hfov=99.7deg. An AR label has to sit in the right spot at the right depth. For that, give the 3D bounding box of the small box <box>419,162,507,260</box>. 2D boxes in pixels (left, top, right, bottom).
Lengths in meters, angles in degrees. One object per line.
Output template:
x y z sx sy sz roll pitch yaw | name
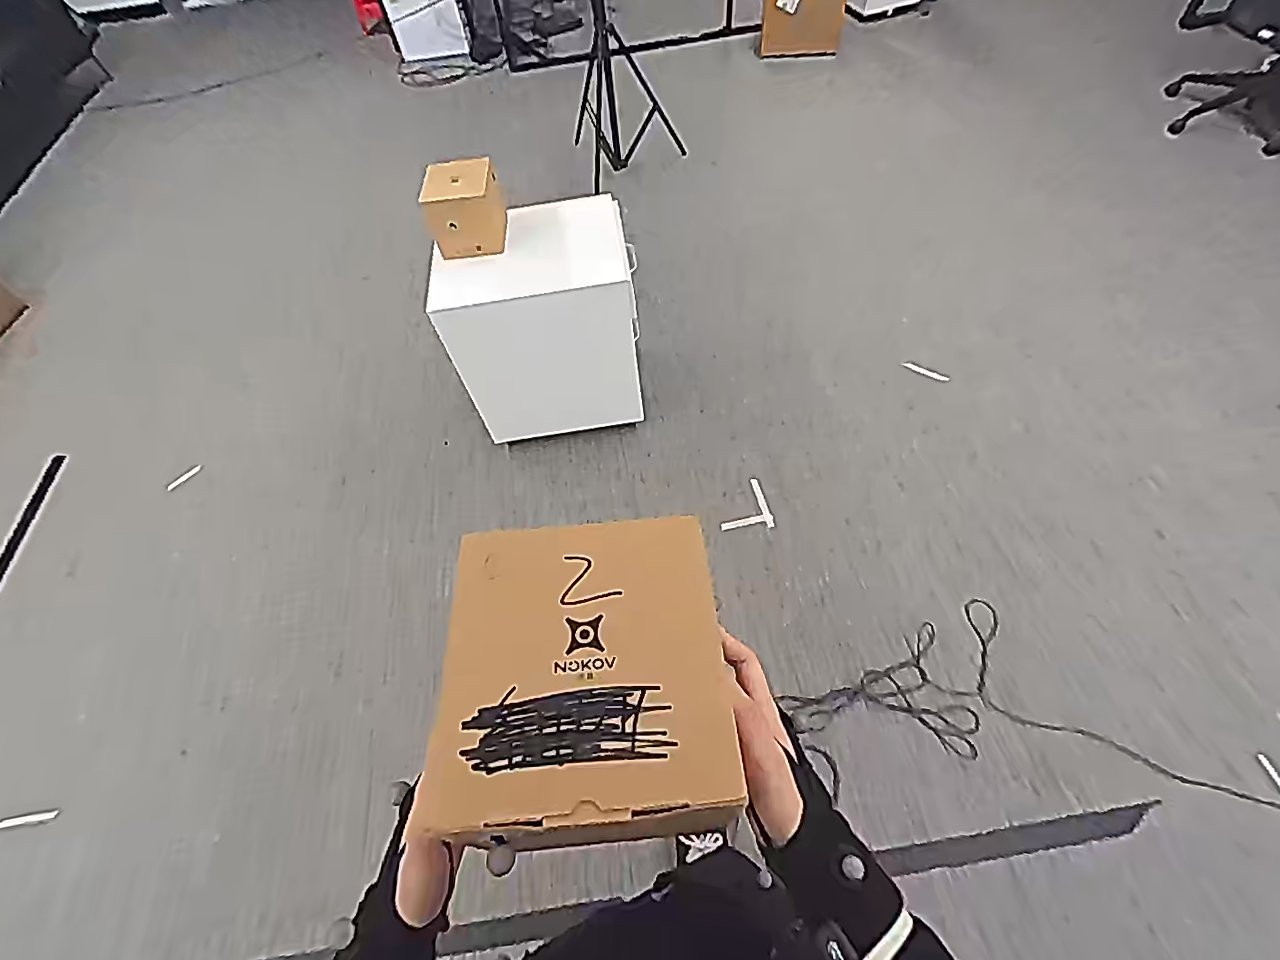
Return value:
-0.455 -0.699 1.421 0.168 0.176 0.179 -6 57 1 | small box
